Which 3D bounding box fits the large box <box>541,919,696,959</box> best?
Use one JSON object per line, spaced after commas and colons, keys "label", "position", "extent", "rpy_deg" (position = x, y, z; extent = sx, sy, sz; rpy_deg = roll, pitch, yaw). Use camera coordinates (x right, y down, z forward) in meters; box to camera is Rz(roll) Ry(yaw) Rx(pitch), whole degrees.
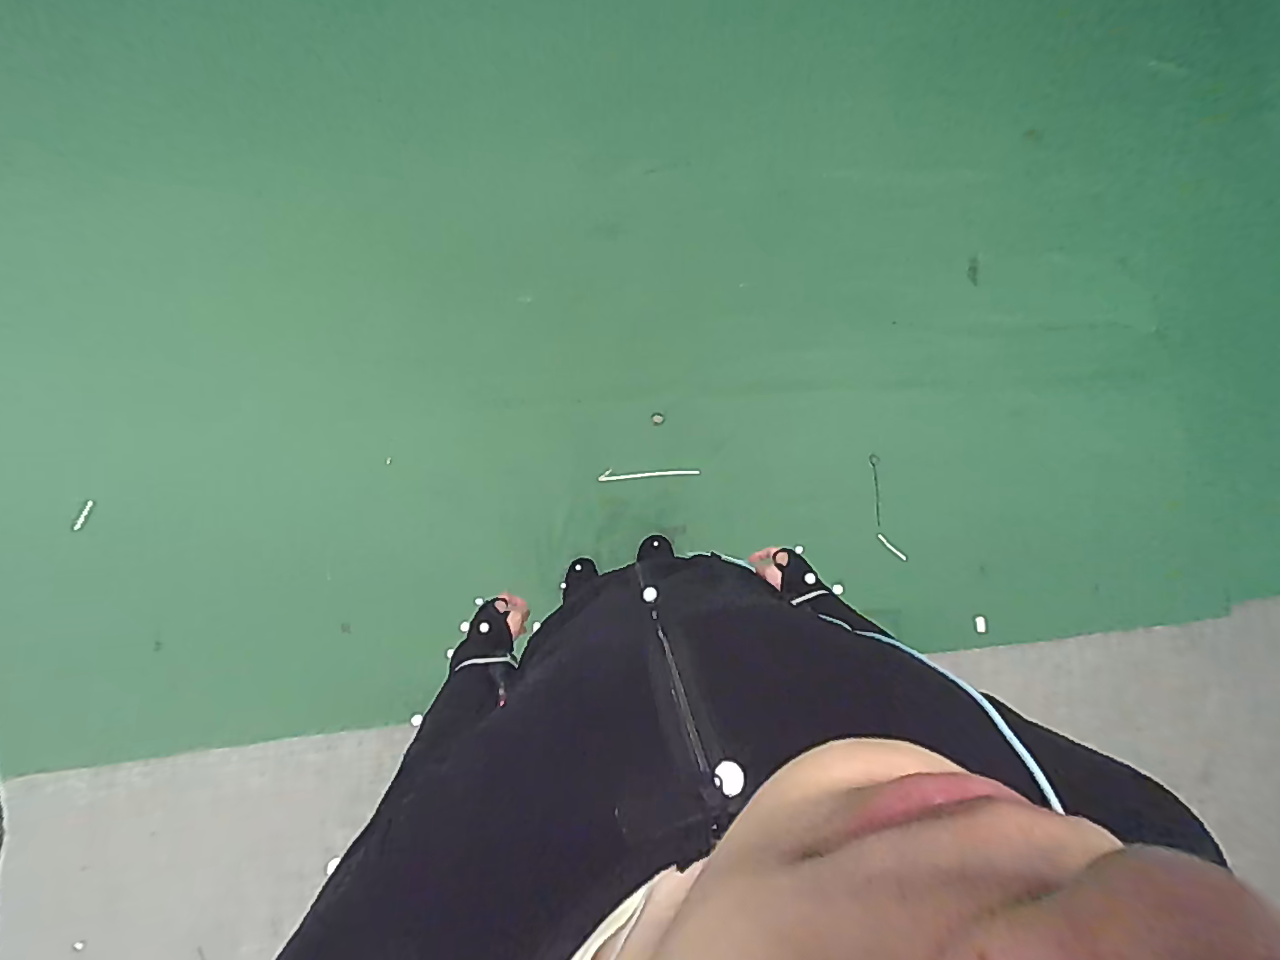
{"label": "large box", "position": [-0.037, 1.388, 1.340], "extent": [0.408, 0.320, 0.320], "rpy_deg": [-7, 83, -7]}
